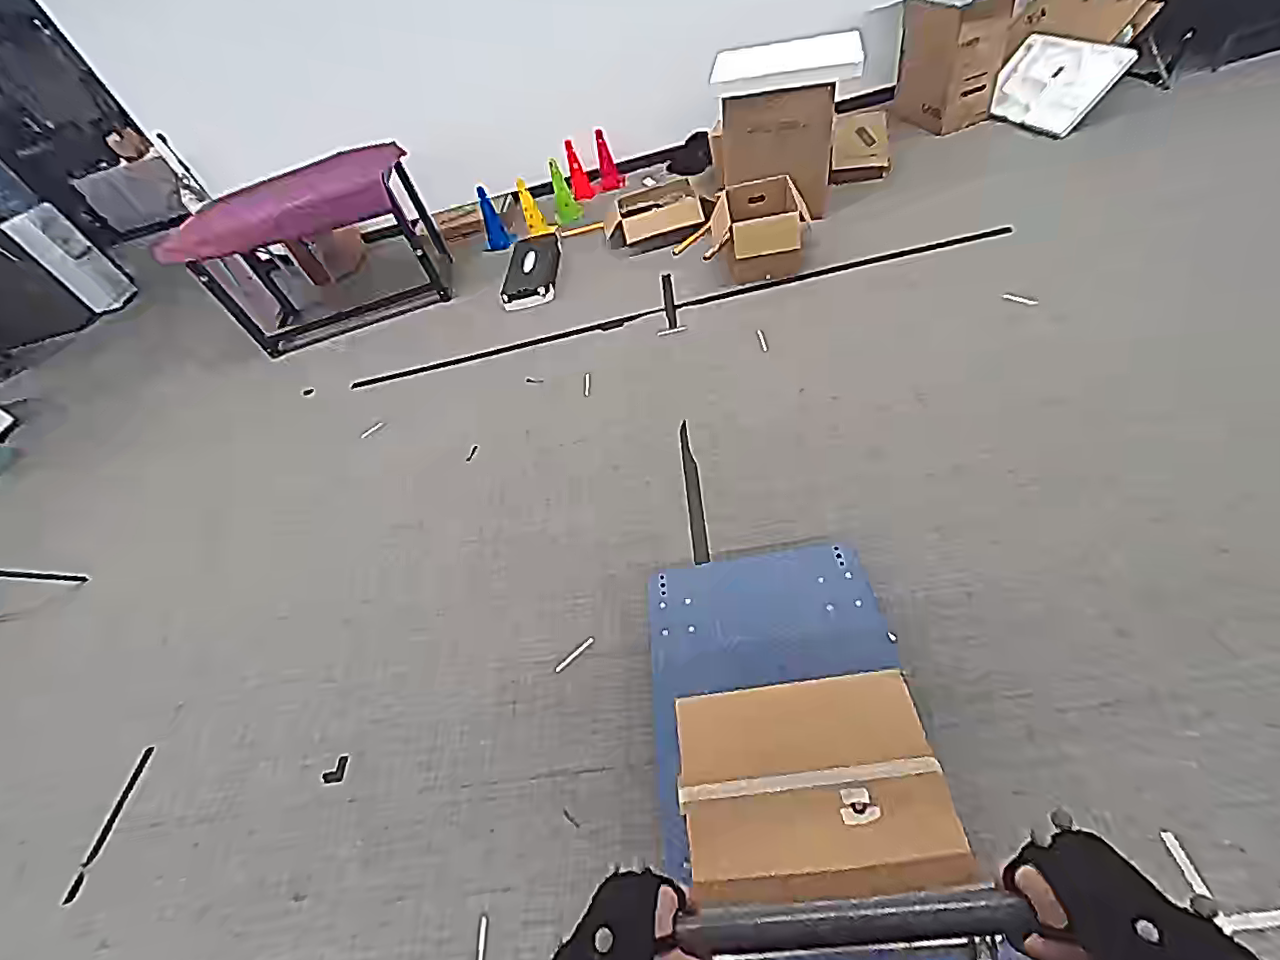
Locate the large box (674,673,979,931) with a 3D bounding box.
[{"bbox_3d":[0.295,0.585,0.970,0.408,0.320,0.320,-11,48,7],"label":"large box"}]
